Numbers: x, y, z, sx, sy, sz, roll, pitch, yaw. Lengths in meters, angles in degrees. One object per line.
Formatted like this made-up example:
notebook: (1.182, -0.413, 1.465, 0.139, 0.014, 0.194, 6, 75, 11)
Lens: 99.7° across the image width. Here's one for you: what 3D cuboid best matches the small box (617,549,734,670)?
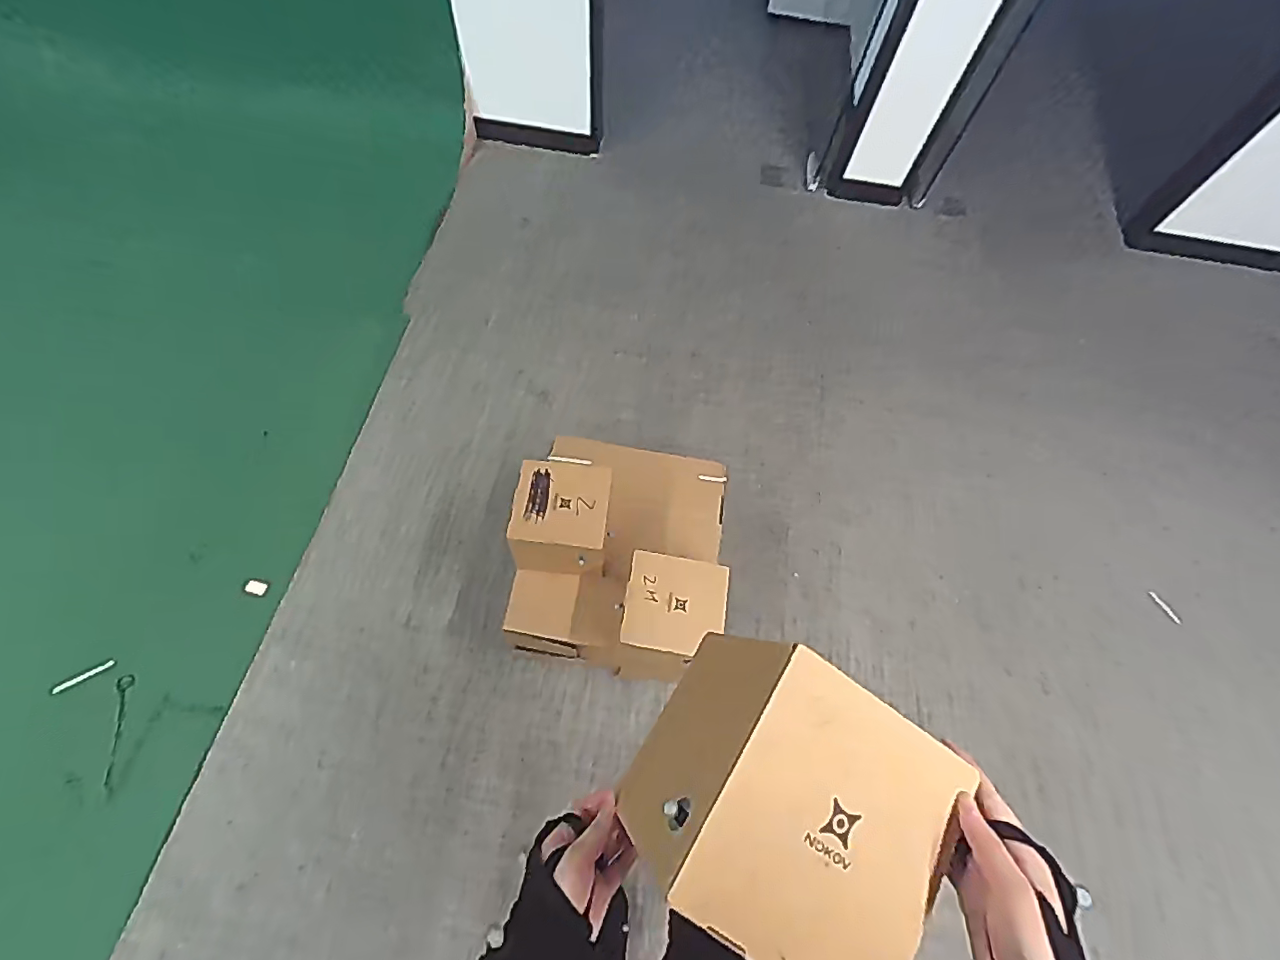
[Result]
small box: (0.060, 0.244, 0.992, 0.179, 0.176, 0.168, 11, 63, 0)
